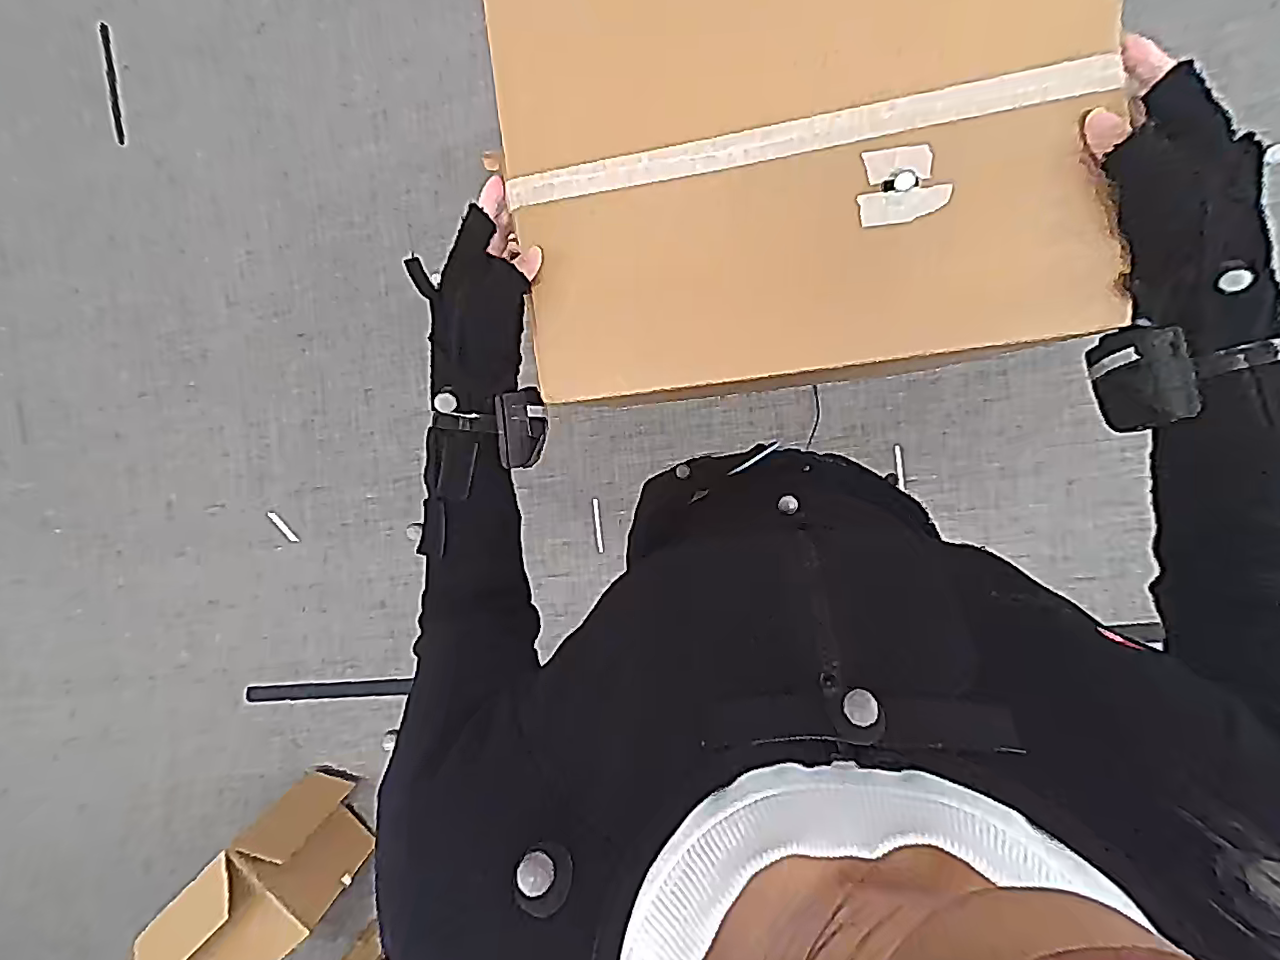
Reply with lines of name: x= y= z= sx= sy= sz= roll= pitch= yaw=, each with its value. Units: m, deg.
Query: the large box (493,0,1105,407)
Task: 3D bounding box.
large box: x=0.122 y=-0.255 z=0.531 sx=0.408 sy=0.320 sz=0.320 roll=-7 pitch=97 yaw=8
